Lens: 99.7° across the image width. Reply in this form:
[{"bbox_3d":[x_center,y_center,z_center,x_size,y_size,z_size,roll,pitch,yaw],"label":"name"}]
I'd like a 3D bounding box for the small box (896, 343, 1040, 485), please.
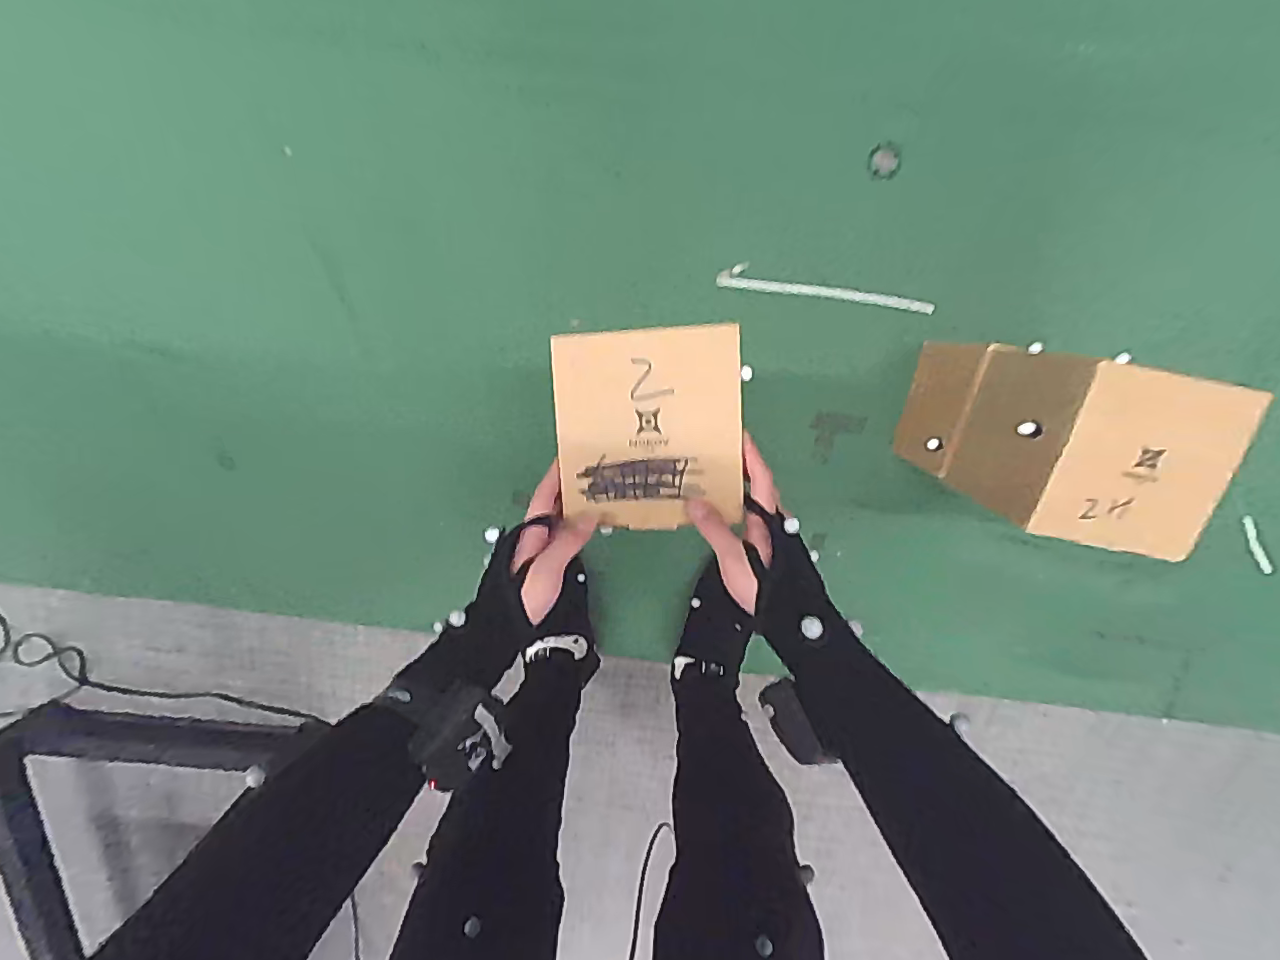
[{"bbox_3d":[0.484,-0.088,0.746,0.168,0.176,0.179,10,108,-1],"label":"small box"}]

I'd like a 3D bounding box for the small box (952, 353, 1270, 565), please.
[{"bbox_3d":[0.481,-0.035,0.589,0.168,0.176,0.179,12,108,-1],"label":"small box"}]
